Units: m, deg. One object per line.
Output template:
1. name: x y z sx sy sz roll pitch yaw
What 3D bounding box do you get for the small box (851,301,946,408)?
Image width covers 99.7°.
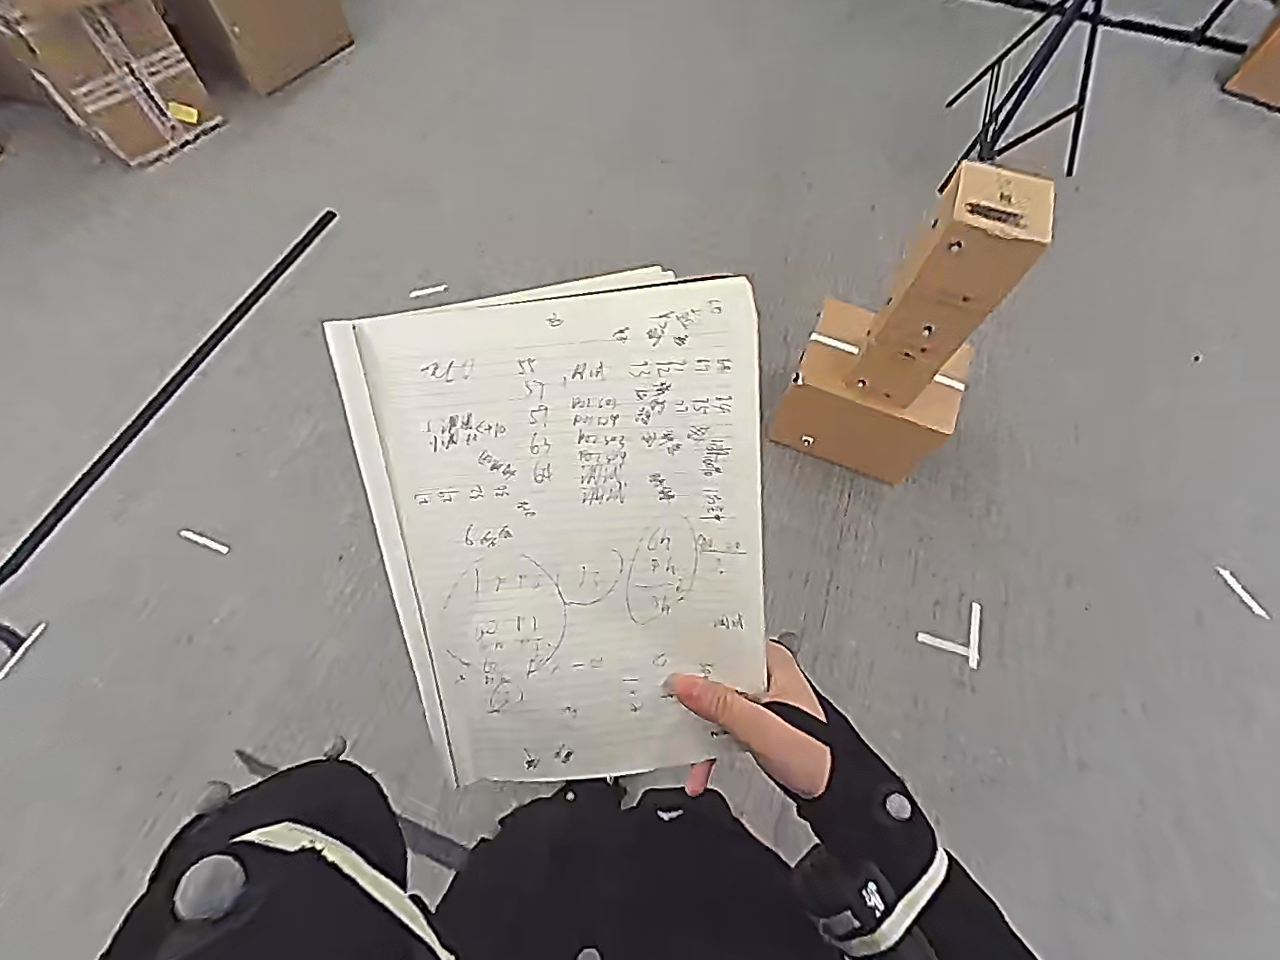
1. small box: 0.637 -0.305 1.317 0.168 0.176 0.179 24 66 10

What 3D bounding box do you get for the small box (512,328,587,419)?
1. small box: -0.269 -0.317 1.628 0.168 0.176 0.179 -25 69 -13

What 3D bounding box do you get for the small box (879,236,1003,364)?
1. small box: 0.644 -0.383 1.173 0.168 0.176 0.179 22 67 8
